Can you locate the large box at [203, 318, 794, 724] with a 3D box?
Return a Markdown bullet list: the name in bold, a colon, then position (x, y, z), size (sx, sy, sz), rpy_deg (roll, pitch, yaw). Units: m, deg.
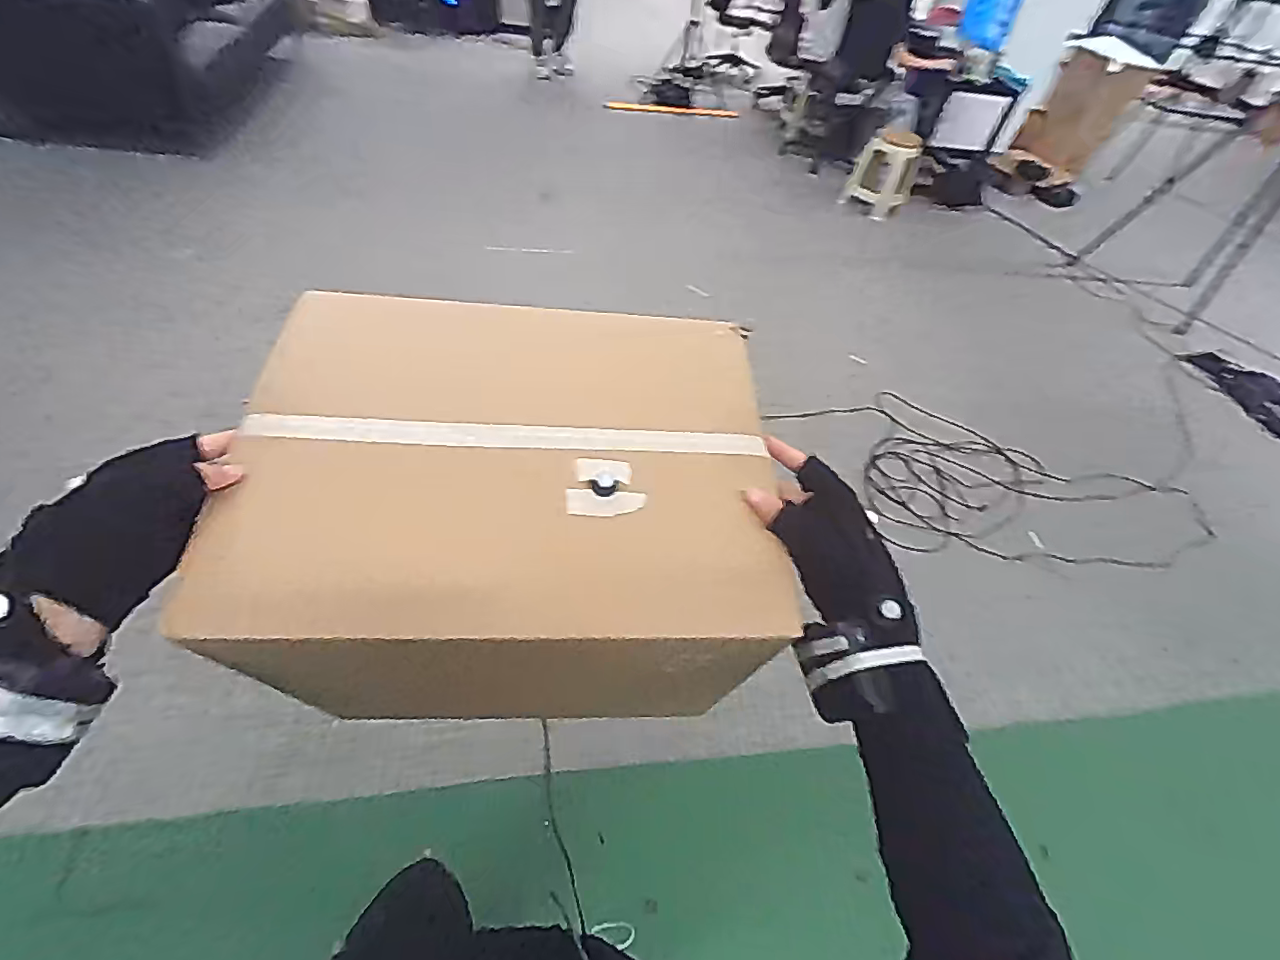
- **large box**: position (-0.109, 0.060, 0.570), size (0.408, 0.320, 0.320), rpy_deg (2, 58, -7)
